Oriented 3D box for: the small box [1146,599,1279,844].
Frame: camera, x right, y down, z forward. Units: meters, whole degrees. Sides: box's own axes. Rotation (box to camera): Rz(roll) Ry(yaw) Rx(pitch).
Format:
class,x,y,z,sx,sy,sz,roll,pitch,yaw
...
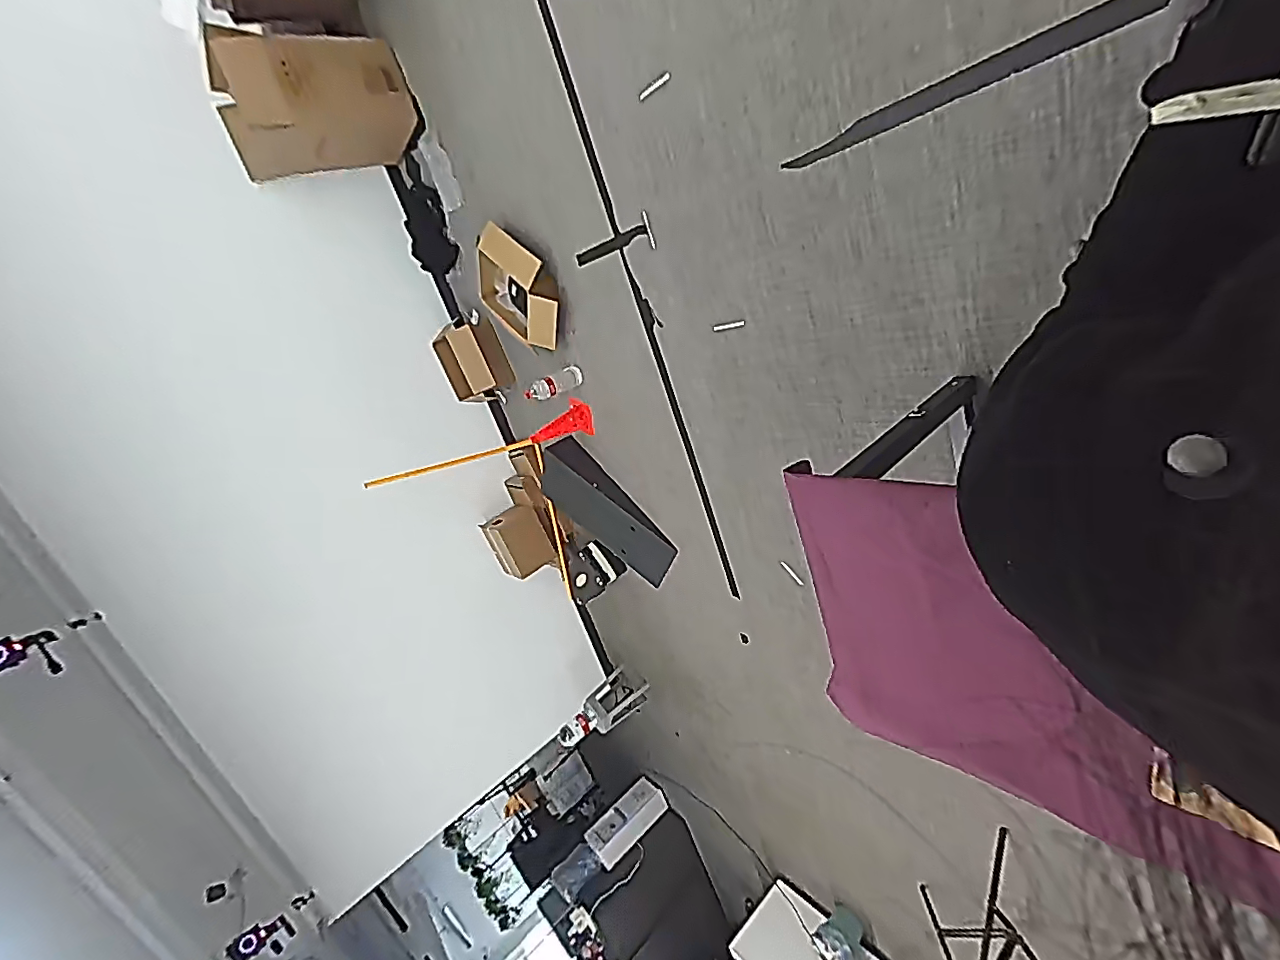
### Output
class,x,y,z,sx,sy,sz,roll,pitch,yaw
small box,0.682,0.263,0.587,0.168,0.176,0.179,9,124,50
